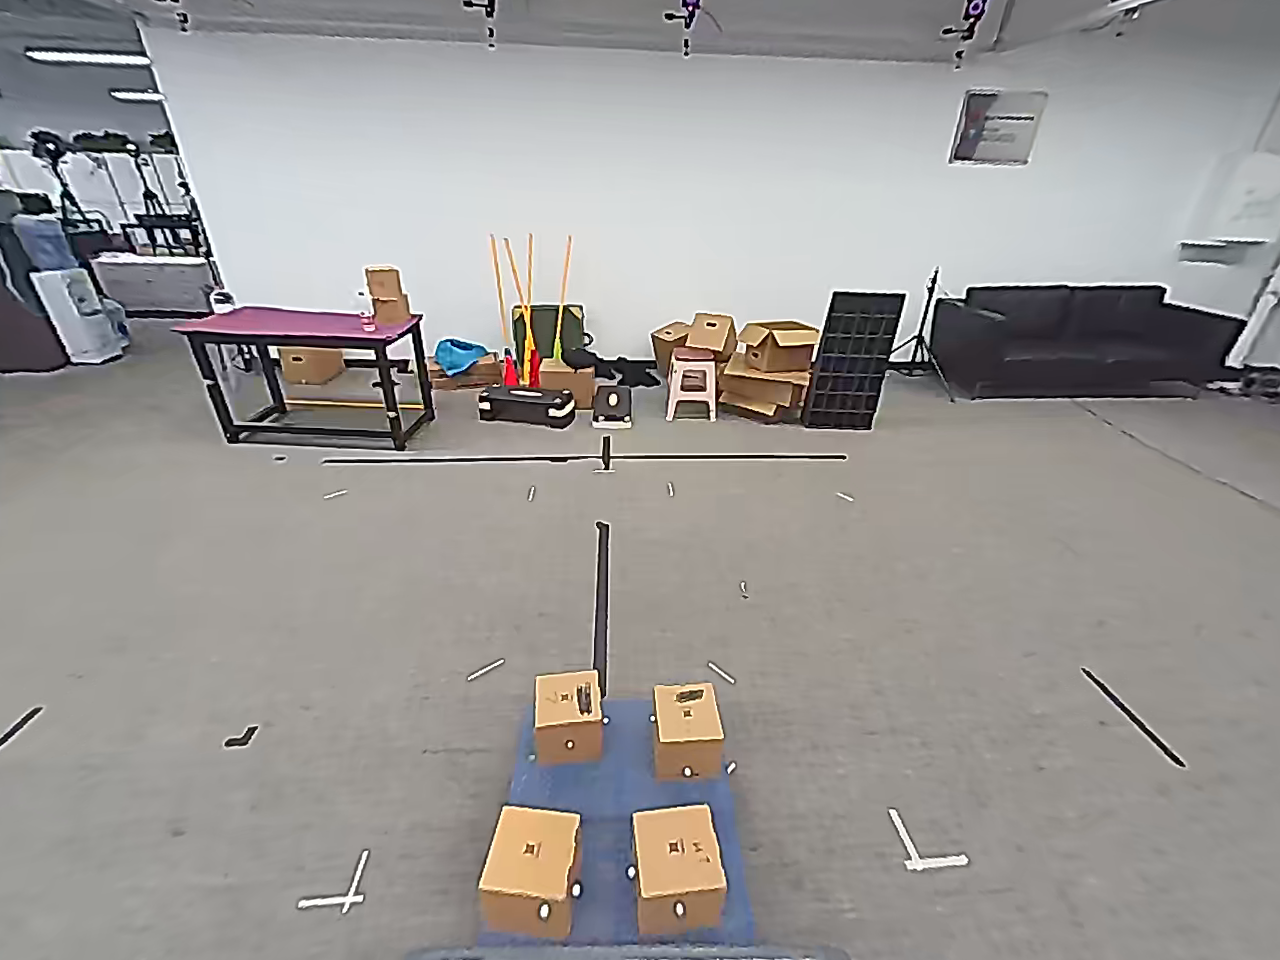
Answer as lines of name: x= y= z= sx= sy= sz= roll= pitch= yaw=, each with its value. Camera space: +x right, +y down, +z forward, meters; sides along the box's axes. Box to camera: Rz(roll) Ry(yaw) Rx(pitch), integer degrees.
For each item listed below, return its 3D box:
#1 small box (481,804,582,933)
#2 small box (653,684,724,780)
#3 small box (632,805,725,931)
small box: x=-0.227 y=0.842 z=1.173 sx=0.179 sy=0.176 sz=0.168 roll=5 pitch=28 yaw=3
small box: x=0.125 y=0.685 z=1.476 sx=0.168 sy=0.176 sz=0.179 roll=-1 pitch=30 yaw=-4
small box: x=0.077 y=0.847 z=1.182 sx=0.179 sy=0.176 sz=0.168 roll=-2 pitch=29 yaw=-6
